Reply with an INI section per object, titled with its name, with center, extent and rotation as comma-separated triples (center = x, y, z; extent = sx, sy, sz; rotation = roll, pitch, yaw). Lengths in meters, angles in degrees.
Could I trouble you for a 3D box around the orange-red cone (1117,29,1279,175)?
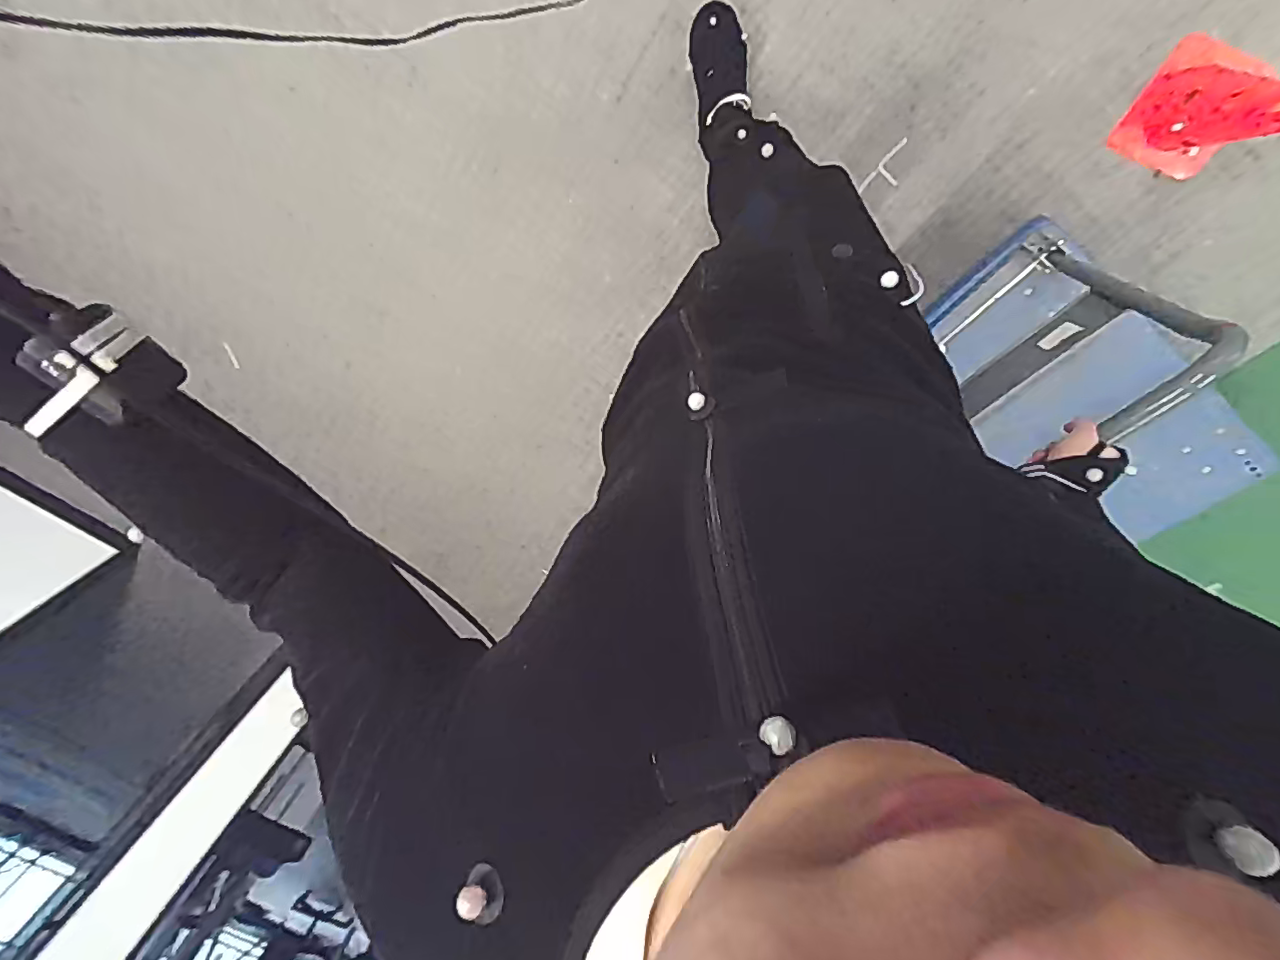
[orange-red cone]
center = 1.065, -0.645, 0.929
extent = 0.198, 0.360, 0.199
rotation = 24, 125, -4
